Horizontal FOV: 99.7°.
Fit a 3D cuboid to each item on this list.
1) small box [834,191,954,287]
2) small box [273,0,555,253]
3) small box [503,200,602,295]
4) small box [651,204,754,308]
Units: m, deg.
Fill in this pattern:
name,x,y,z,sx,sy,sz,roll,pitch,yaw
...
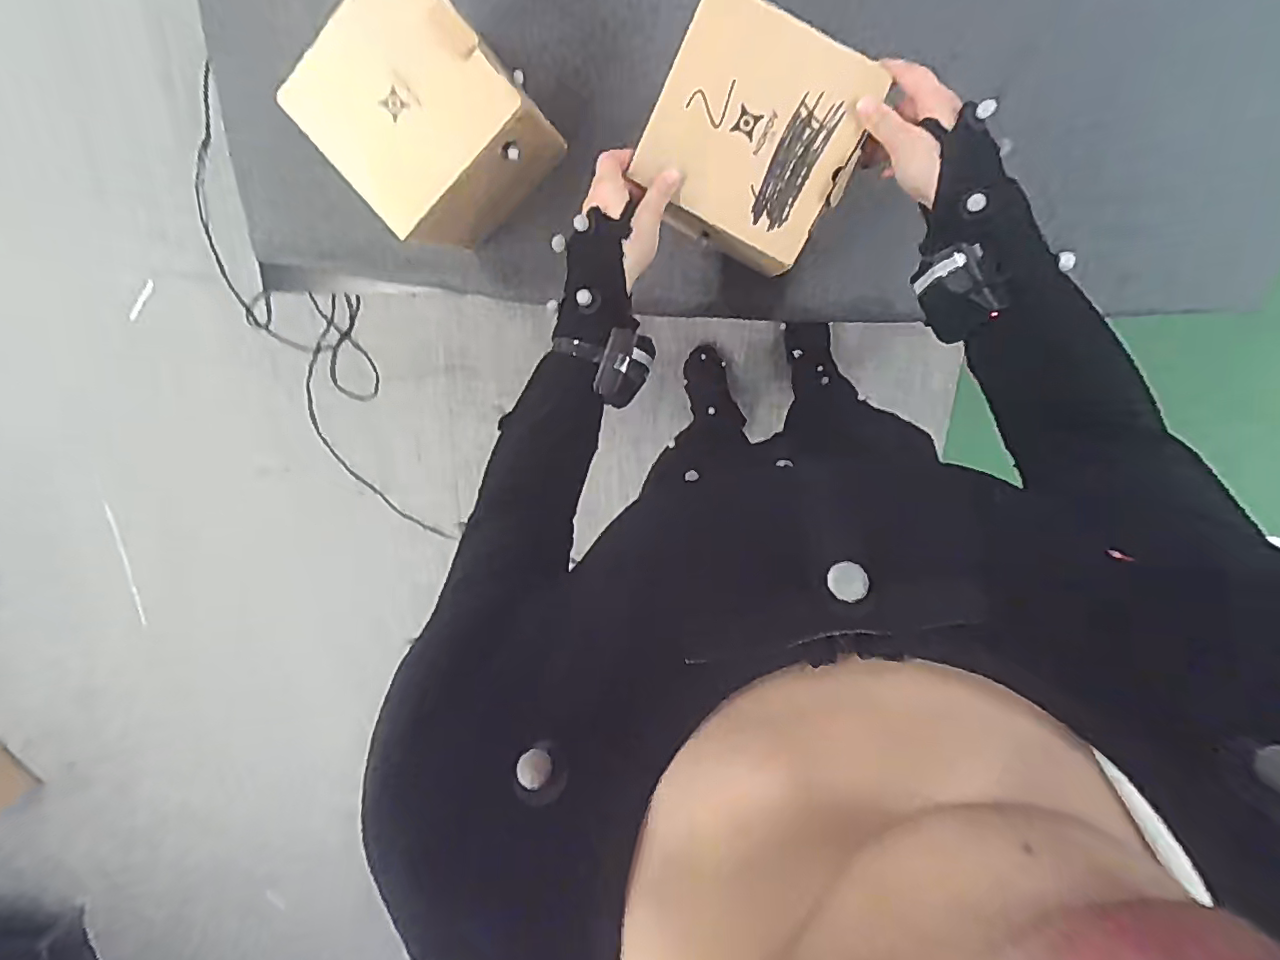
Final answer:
name,x,y,z,sx,sy,sz,roll,pitch,yaw
small box,0.546,-0.522,1.191,0.179,0.176,0.168,8,109,3
small box,-0.215,-0.362,0.562,0.179,0.176,0.168,-39,100,16
small box,-0.202,-0.538,1.273,0.179,0.176,0.168,14,109,2
small box,0.143,-0.507,1.243,0.179,0.176,0.168,22,108,1
